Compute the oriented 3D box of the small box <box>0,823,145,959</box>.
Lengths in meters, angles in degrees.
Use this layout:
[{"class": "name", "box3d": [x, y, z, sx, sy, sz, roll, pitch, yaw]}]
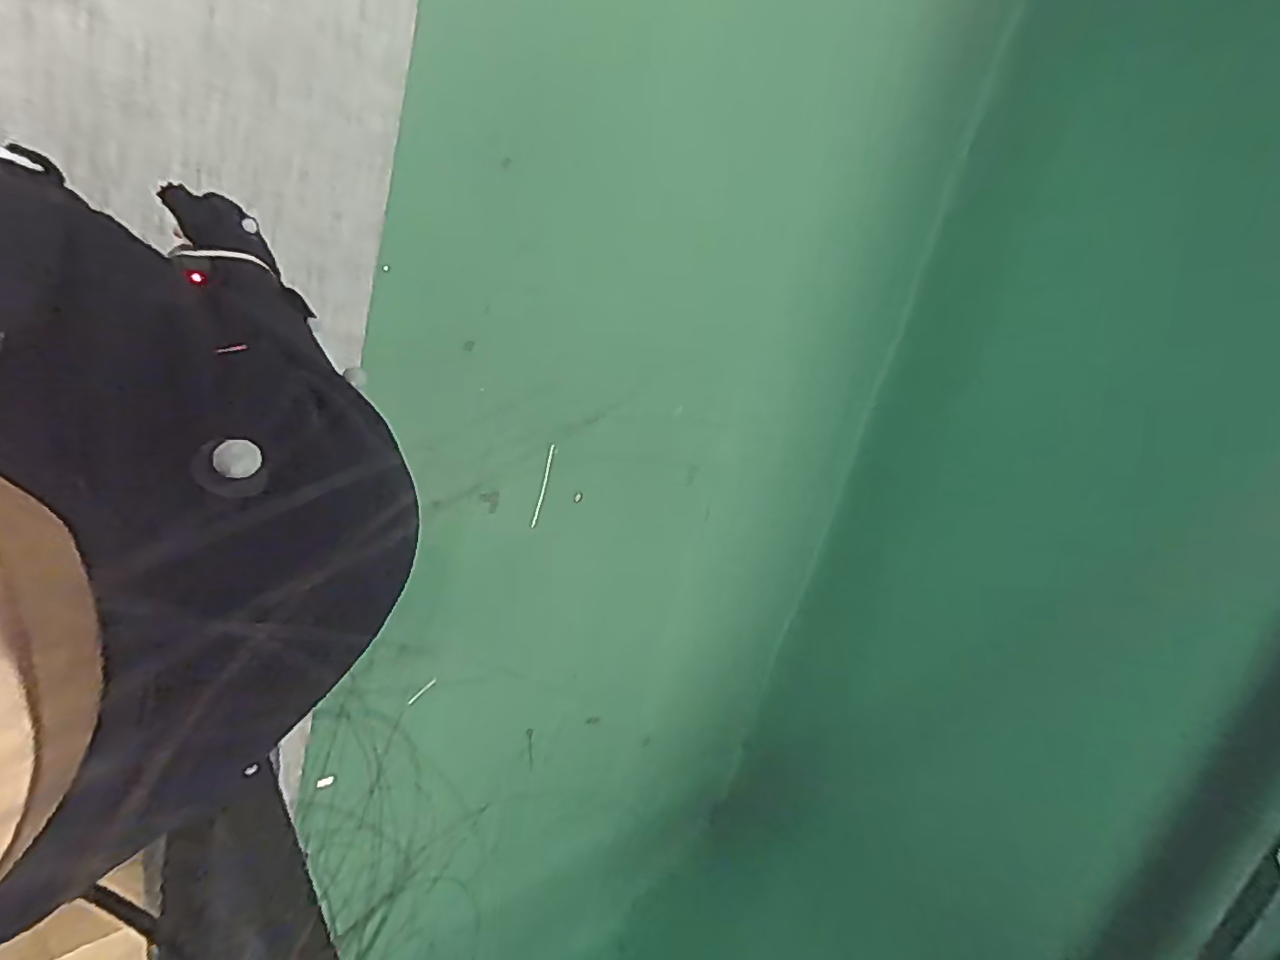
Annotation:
[{"class": "small box", "box3d": [-0.680, 0.532, 0.610, 0.168, 0.176, 0.179, -2, 112, -46]}]
